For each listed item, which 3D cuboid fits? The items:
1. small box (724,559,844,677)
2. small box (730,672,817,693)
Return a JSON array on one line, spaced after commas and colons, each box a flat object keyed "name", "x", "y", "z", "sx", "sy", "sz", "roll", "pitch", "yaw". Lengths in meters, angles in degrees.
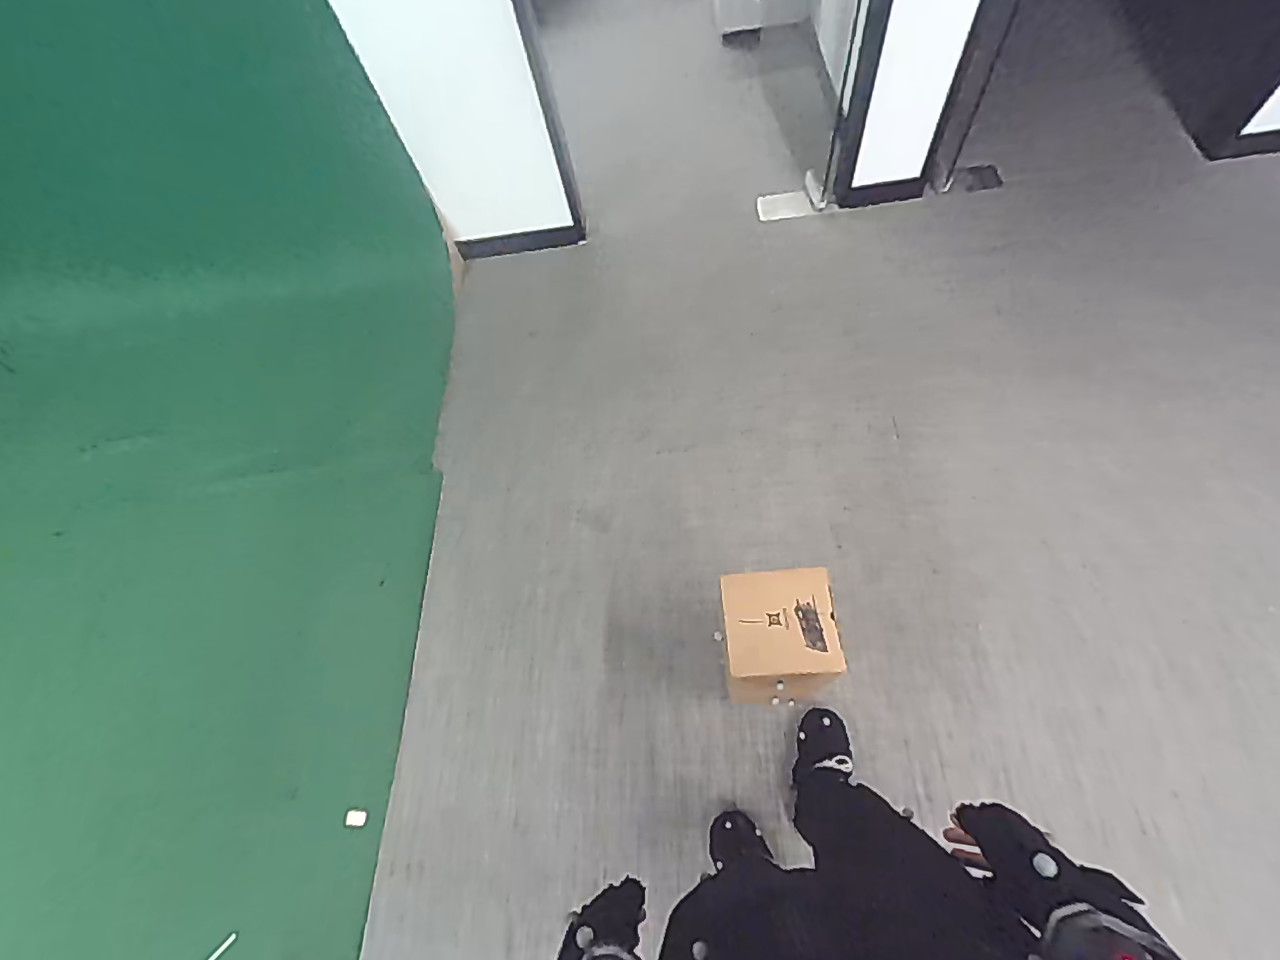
[{"name": "small box", "x": 0.236, "y": 0.241, "z": 0.934, "sx": 0.179, "sy": 0.176, "sz": 0.168, "roll": -3, "pitch": 61, "yaw": 8}, {"name": "small box", "x": 0.290, "y": 0.387, "z": 1.226, "sx": 0.179, "sy": 0.176, "sz": 0.168, "roll": -7, "pitch": 62, "yaw": 8}]
